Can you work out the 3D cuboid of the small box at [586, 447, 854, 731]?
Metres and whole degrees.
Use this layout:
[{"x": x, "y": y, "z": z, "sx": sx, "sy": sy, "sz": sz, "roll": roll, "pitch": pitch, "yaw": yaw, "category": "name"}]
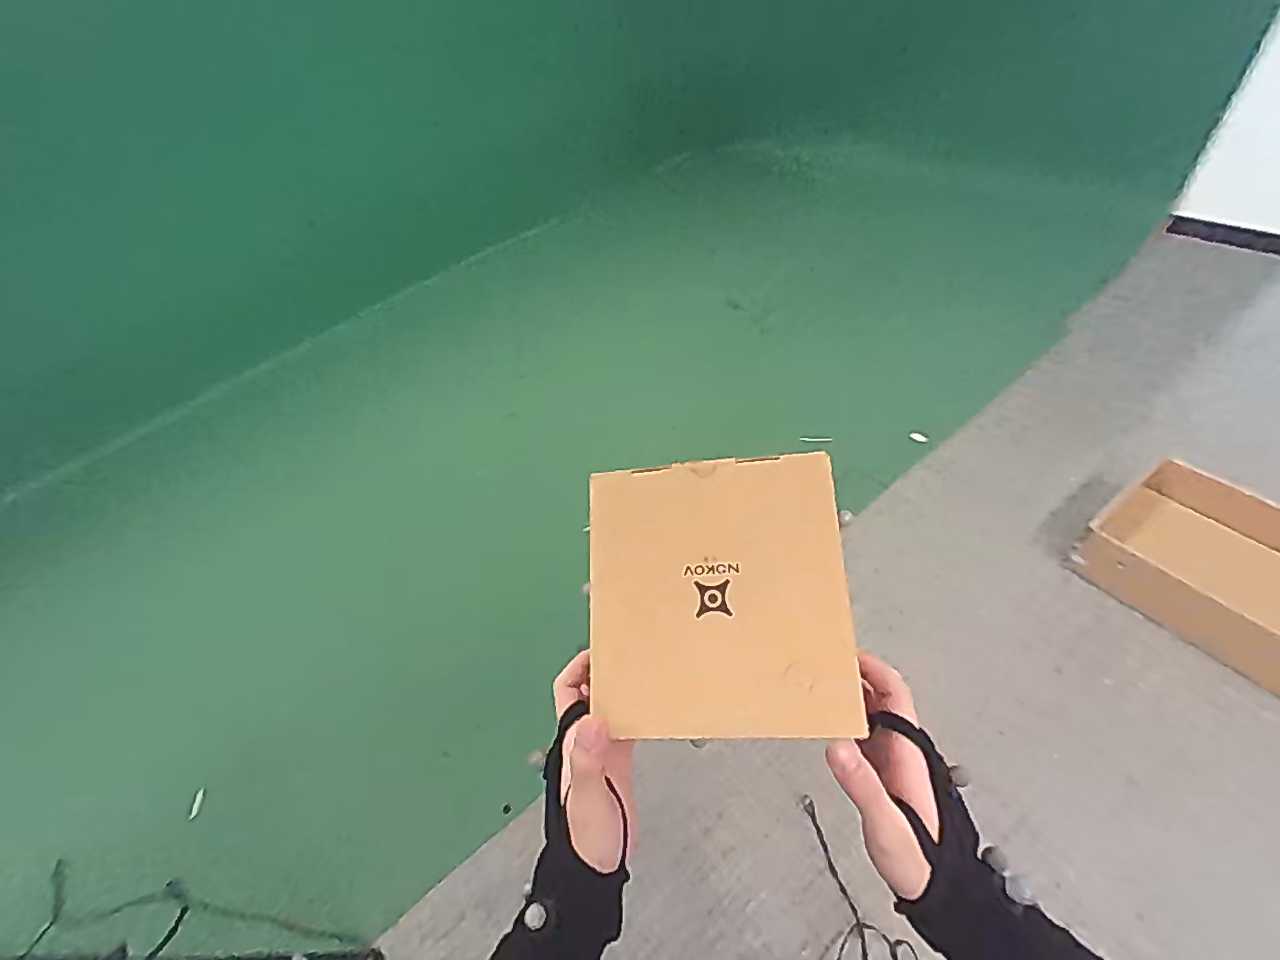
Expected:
[{"x": 0.062, "y": 0.090, "z": 0.424, "sx": 0.168, "sy": 0.176, "sz": 0.179, "roll": -5, "pitch": 71, "yaw": 12, "category": "small box"}]
